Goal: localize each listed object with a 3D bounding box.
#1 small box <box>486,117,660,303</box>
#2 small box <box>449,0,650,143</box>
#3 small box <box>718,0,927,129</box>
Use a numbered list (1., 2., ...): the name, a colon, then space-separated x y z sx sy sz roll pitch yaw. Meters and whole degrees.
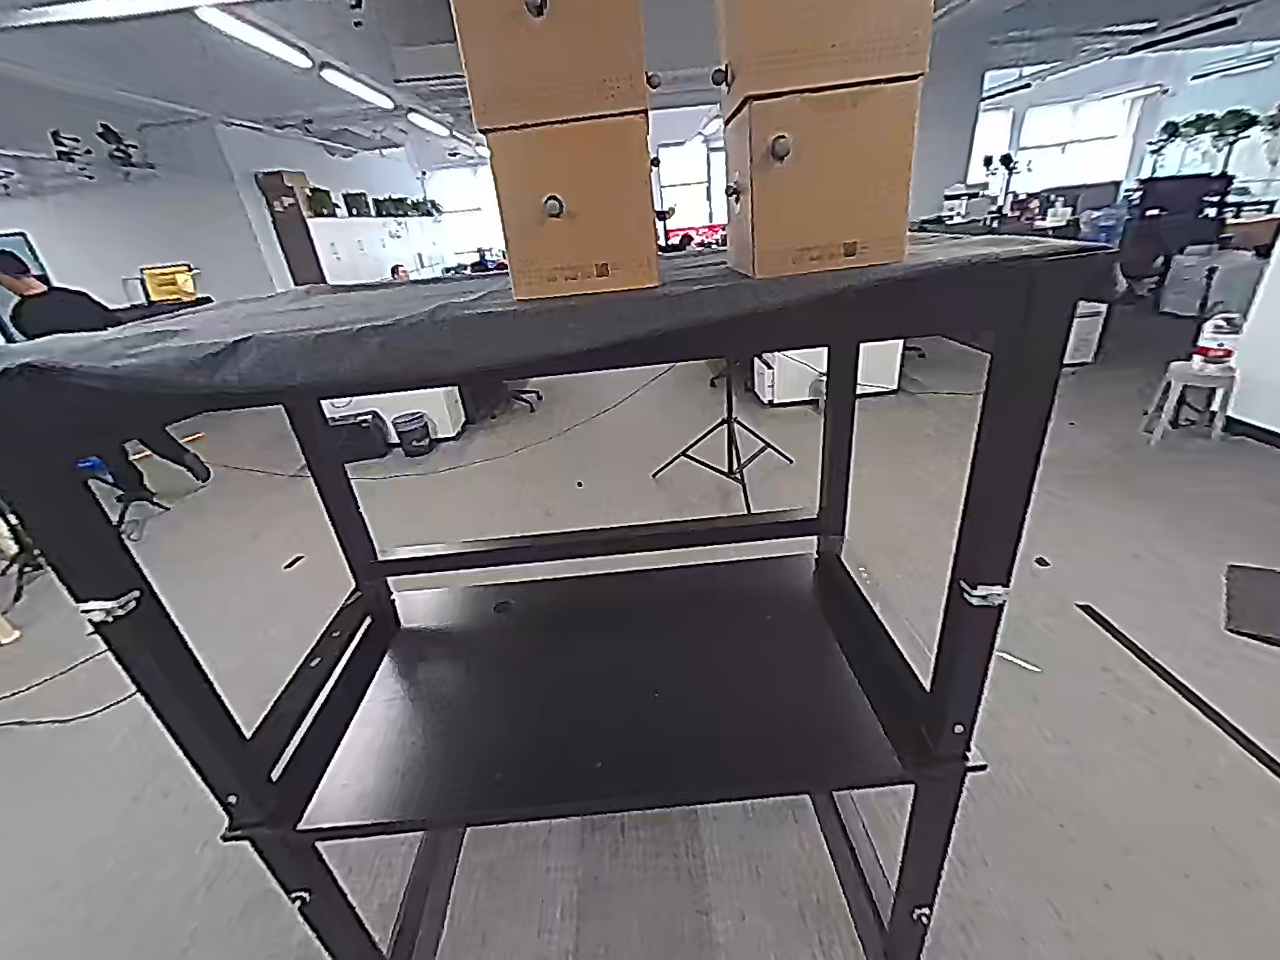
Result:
1. small box: -0.065 -0.311 0.648 0.168 0.176 0.179 -5 24 4
2. small box: -0.083 -0.455 0.570 0.179 0.176 0.168 -6 24 5
3. small box: 0.177 -0.476 0.553 0.179 0.176 0.168 -7 23 2
